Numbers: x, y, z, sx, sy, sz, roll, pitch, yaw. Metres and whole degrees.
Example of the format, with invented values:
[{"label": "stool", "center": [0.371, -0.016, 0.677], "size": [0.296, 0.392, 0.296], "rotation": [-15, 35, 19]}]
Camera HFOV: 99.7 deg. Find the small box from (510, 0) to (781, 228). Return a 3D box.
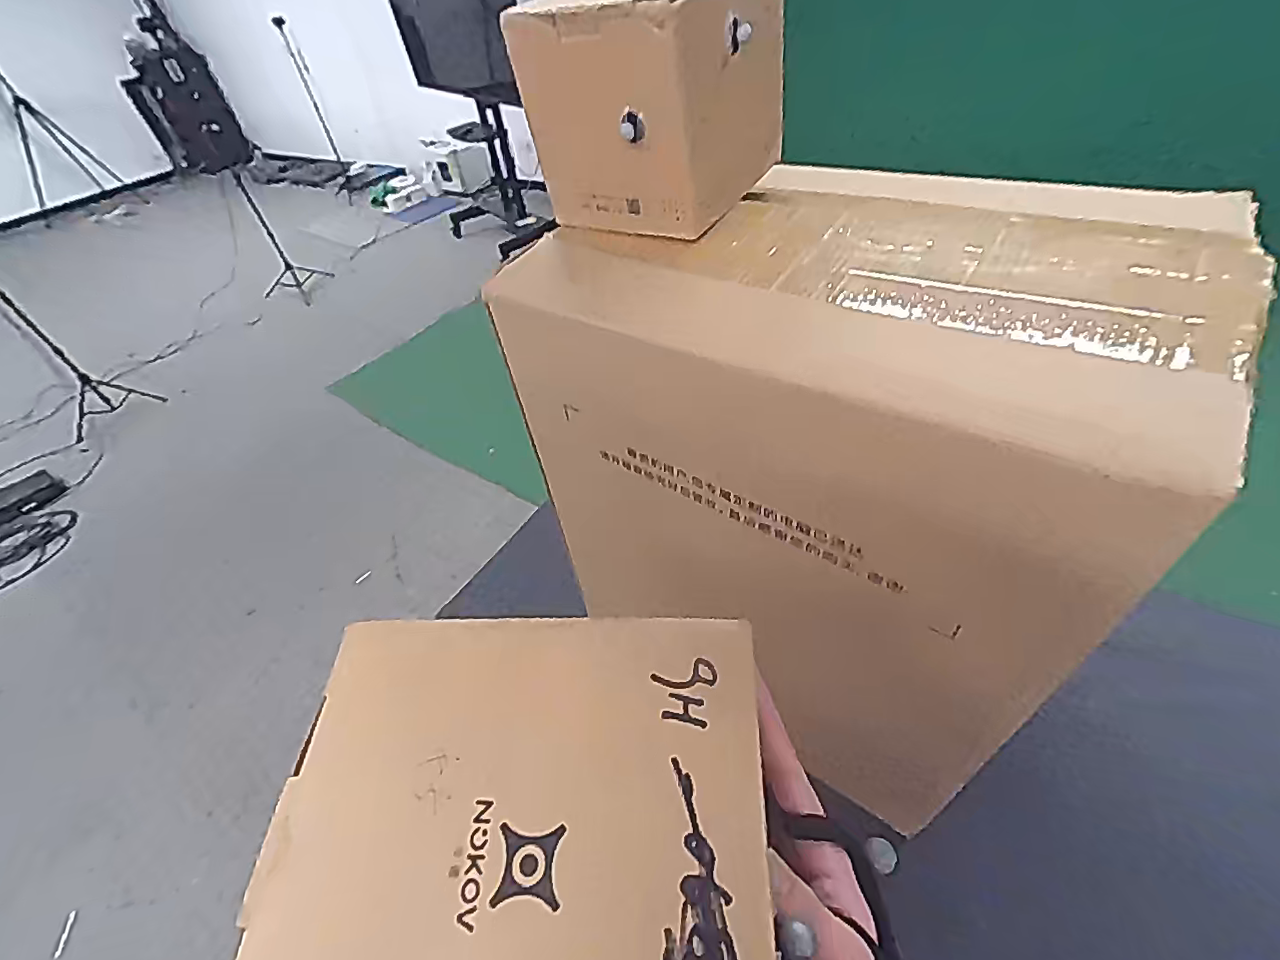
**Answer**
[{"label": "small box", "center": [0.021, -0.348, 0.486], "size": [0.168, 0.176, 0.179], "rotation": [22, 55, 27]}]
